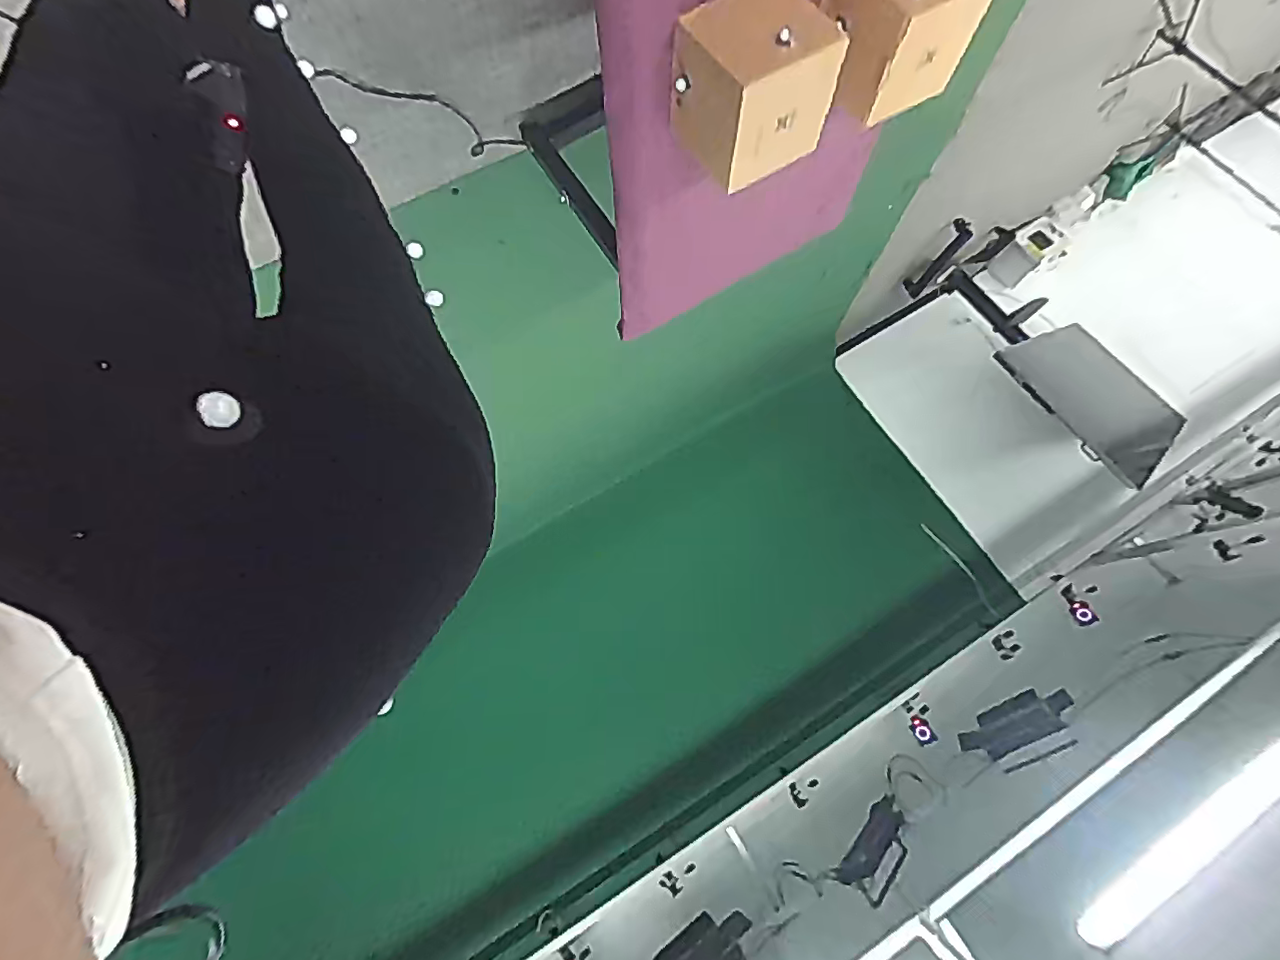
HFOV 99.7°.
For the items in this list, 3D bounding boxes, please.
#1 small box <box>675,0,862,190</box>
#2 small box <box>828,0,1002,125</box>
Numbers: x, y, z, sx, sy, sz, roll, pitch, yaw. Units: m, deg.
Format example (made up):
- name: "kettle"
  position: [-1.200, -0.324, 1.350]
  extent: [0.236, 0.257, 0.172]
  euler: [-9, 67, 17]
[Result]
- name: "small box"
  position: [0.172, -0.572, 0.779]
  extent: [0.179, 0.176, 0.168]
  euler: [-30, 163, -9]
- name: "small box"
  position: [0.408, -0.705, 0.830]
  extent: [0.179, 0.176, 0.168]
  euler: [-28, 164, -9]
